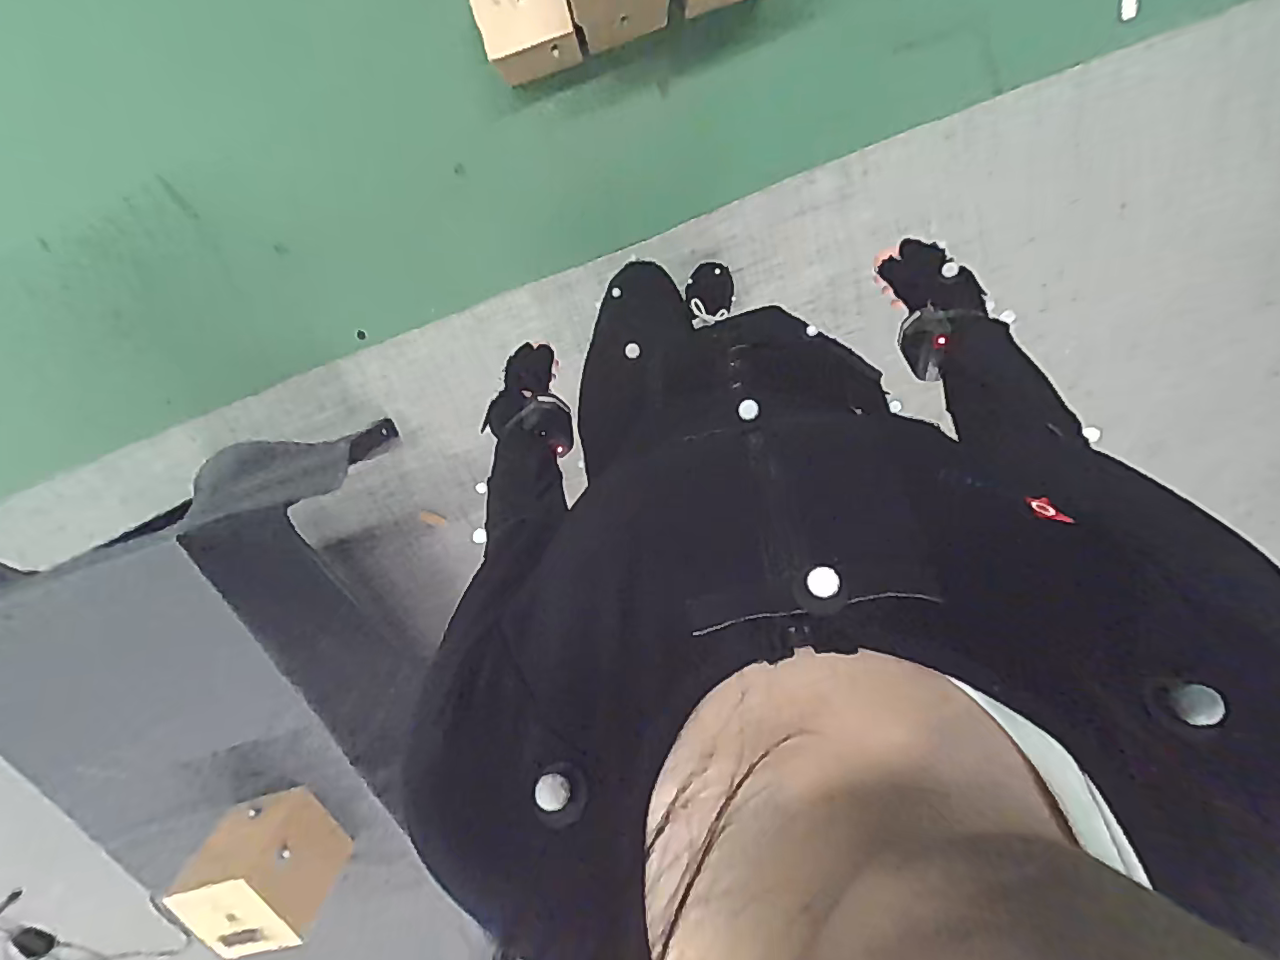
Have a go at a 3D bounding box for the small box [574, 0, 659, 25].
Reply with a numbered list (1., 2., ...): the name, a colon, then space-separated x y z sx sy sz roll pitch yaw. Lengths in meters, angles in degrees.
1. small box: -0.047 -0.918 0.913 0.179 0.176 0.168 -13 112 8
